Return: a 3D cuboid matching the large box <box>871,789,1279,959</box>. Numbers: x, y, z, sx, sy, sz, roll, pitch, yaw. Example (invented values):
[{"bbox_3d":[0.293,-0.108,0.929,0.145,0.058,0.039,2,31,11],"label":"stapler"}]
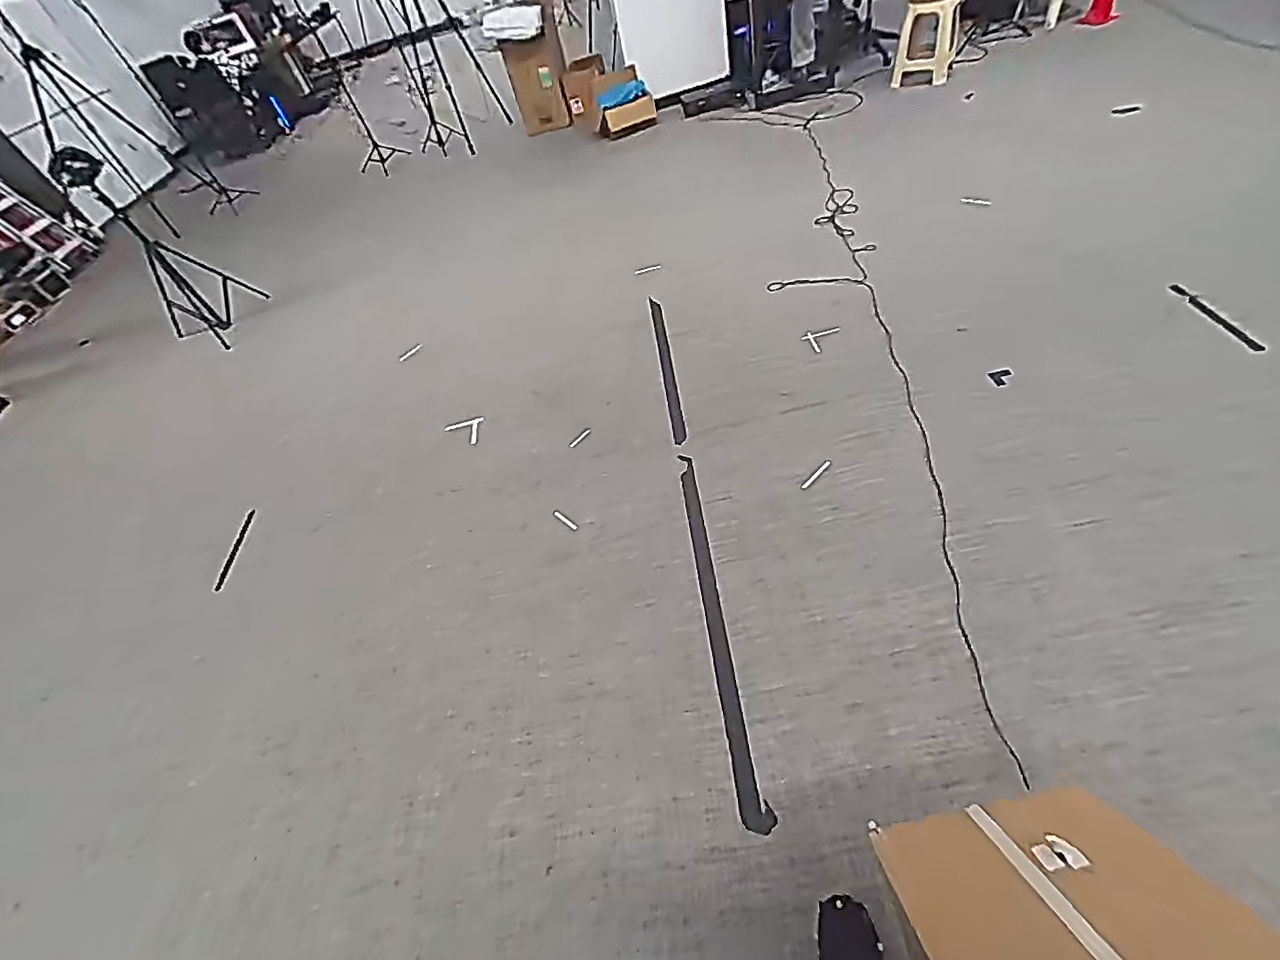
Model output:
[{"bbox_3d":[0.519,0.629,0.599,0.320,0.408,0.320,-17,84,5],"label":"large box"}]
